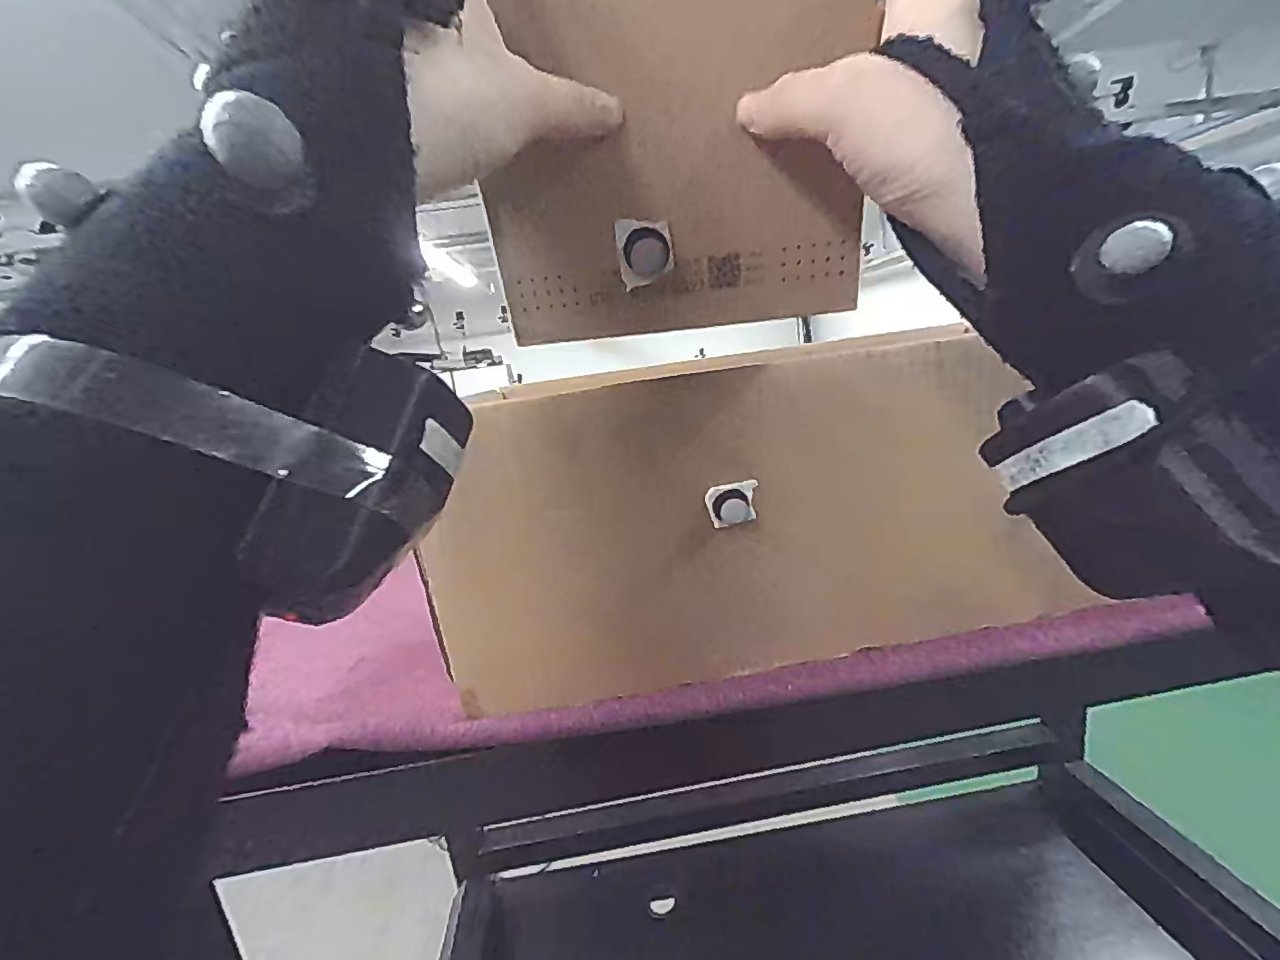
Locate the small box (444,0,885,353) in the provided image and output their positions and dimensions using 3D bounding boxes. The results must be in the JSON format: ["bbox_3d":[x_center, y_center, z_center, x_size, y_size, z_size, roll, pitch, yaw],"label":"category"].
[{"bbox_3d":[0.015,-0.179,0.289,0.168,0.176,0.179,-7,30,7],"label":"small box"}]
